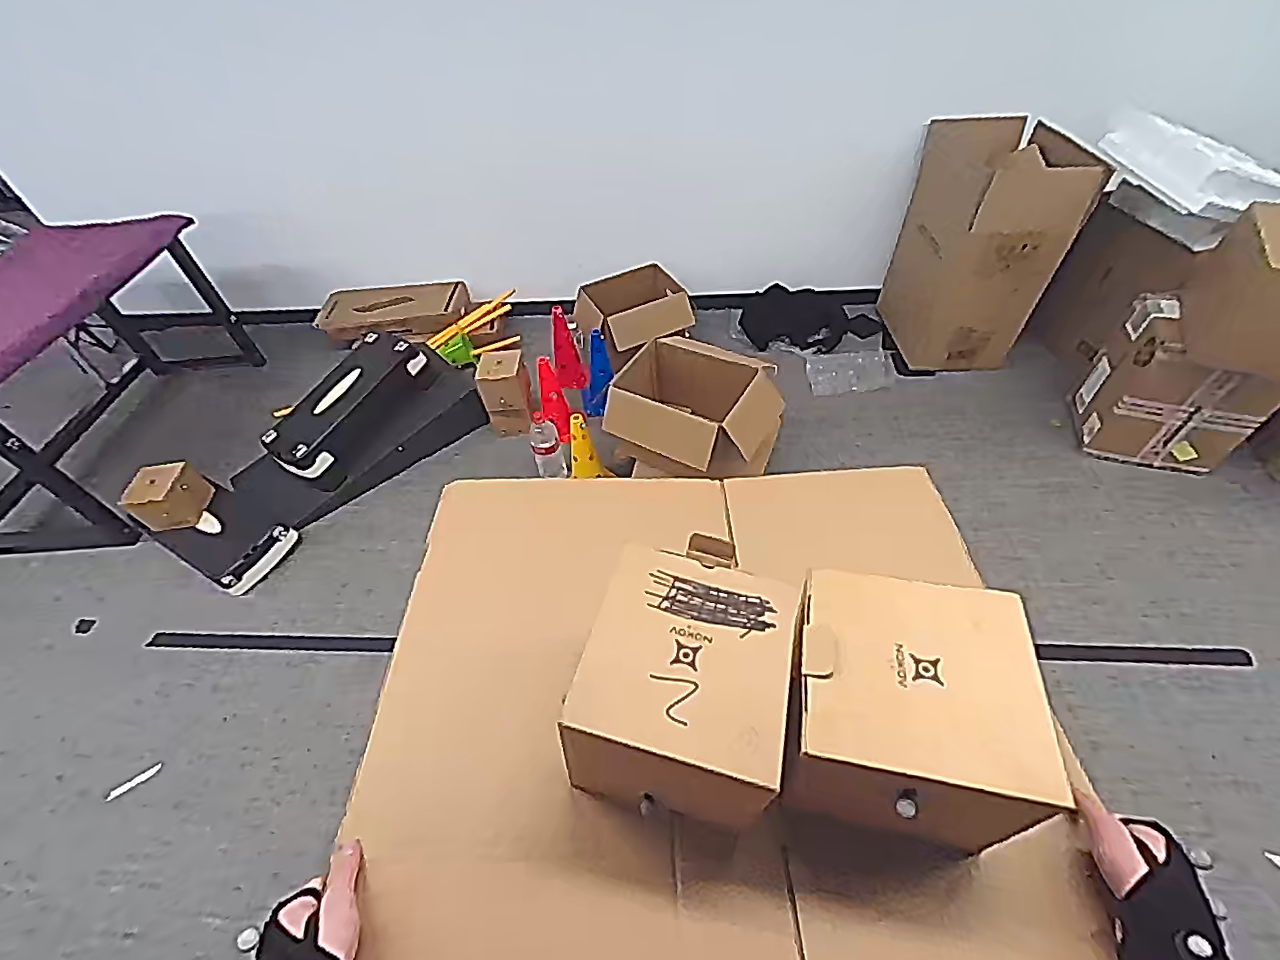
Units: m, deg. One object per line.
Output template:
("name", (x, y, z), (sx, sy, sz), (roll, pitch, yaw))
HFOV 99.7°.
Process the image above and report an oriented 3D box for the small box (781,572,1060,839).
("small box", (0.231, 0.209, 0.498), (0.179, 0.176, 0.168), (5, 48, 13))
